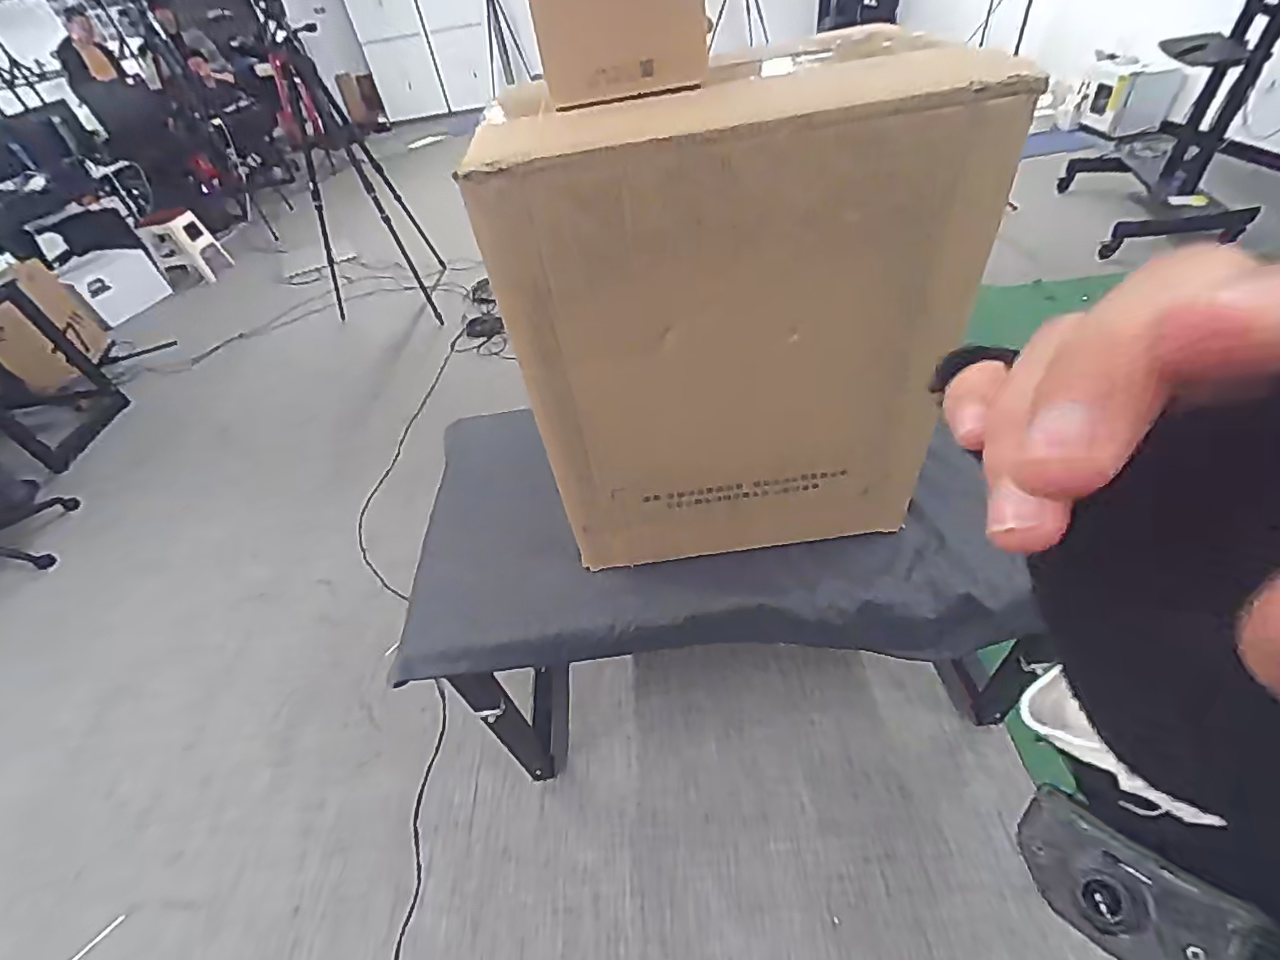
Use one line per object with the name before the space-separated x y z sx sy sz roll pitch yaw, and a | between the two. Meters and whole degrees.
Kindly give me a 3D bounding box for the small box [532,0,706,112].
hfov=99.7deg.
small box | -0.023 -0.509 0.573 0.168 0.176 0.179 -7 43 4
